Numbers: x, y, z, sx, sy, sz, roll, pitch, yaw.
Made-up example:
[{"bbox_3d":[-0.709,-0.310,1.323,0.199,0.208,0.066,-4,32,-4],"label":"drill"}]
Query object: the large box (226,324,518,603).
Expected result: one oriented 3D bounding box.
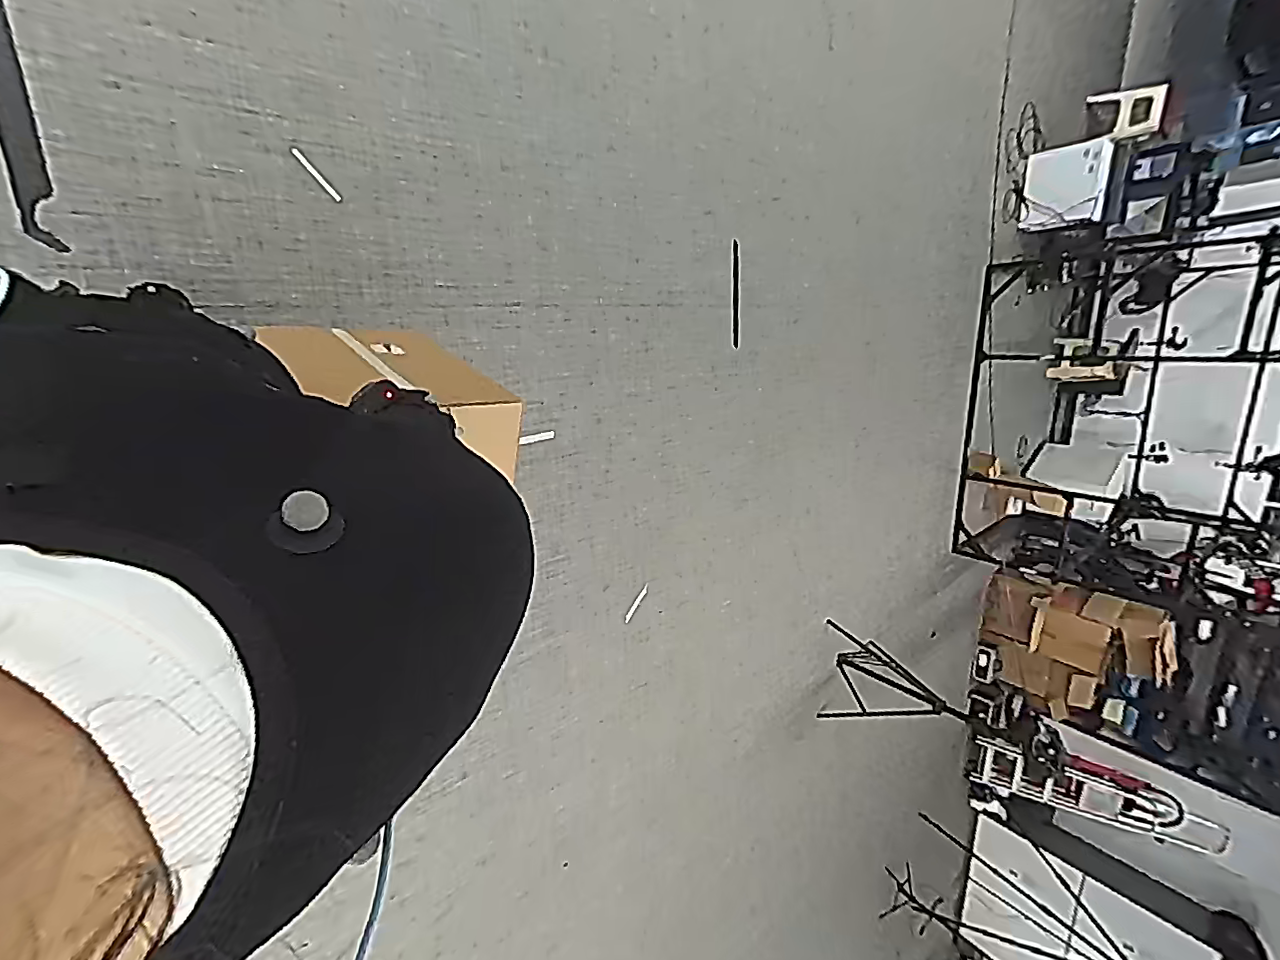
[{"bbox_3d":[-0.457,-0.059,0.927,0.320,0.408,0.320,-13,124,-43],"label":"large box"}]
